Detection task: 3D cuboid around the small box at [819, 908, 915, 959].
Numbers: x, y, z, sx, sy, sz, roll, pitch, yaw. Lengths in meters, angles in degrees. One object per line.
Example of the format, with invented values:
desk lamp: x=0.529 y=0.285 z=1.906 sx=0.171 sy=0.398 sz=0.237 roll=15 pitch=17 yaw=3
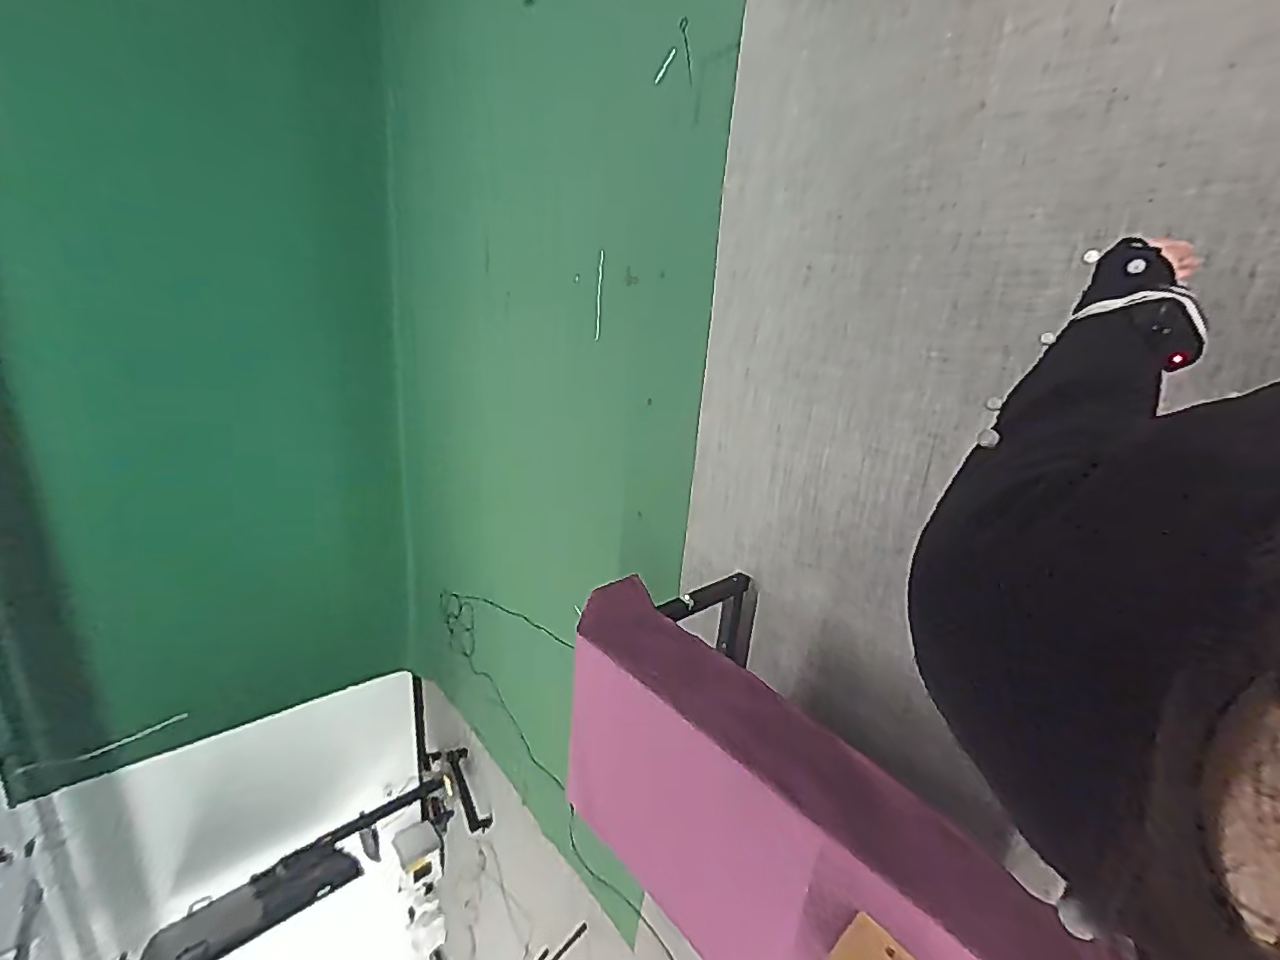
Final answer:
small box: x=0.366 y=0.857 z=0.871 sx=0.168 sy=0.176 sz=0.179 roll=28 pitch=119 yaw=43
